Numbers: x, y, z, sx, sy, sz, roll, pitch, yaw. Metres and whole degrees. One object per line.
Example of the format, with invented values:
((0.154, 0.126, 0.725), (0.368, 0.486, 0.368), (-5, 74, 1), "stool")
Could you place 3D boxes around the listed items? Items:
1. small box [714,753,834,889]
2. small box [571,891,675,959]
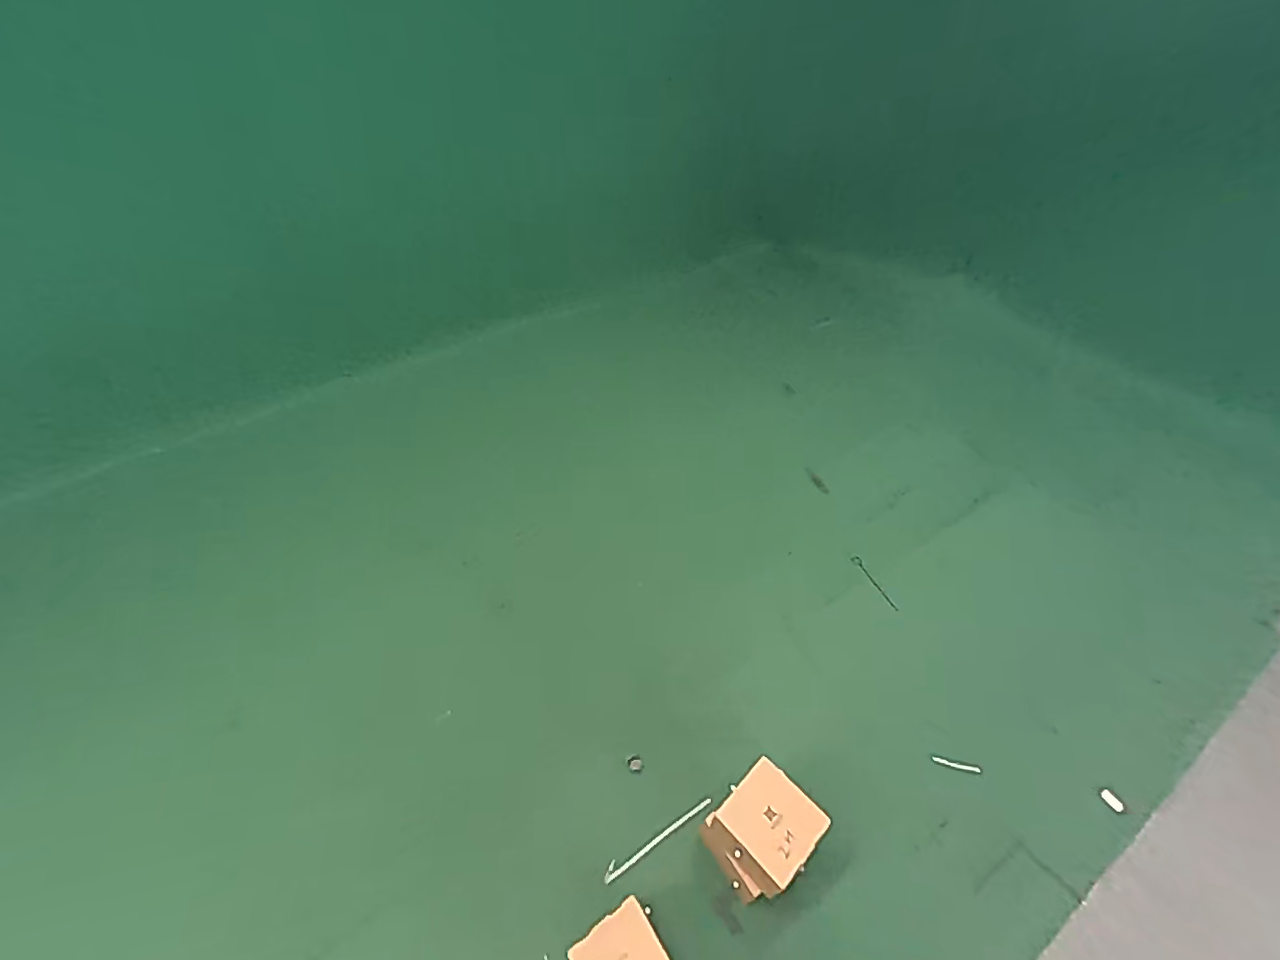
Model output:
((0.276, 0.733, 1.157), (0.168, 0.176, 0.179), (-35, 57, -26), "small box")
((-0.022, 1.015, 1.136), (0.168, 0.176, 0.179), (-28, 52, -21), "small box")
